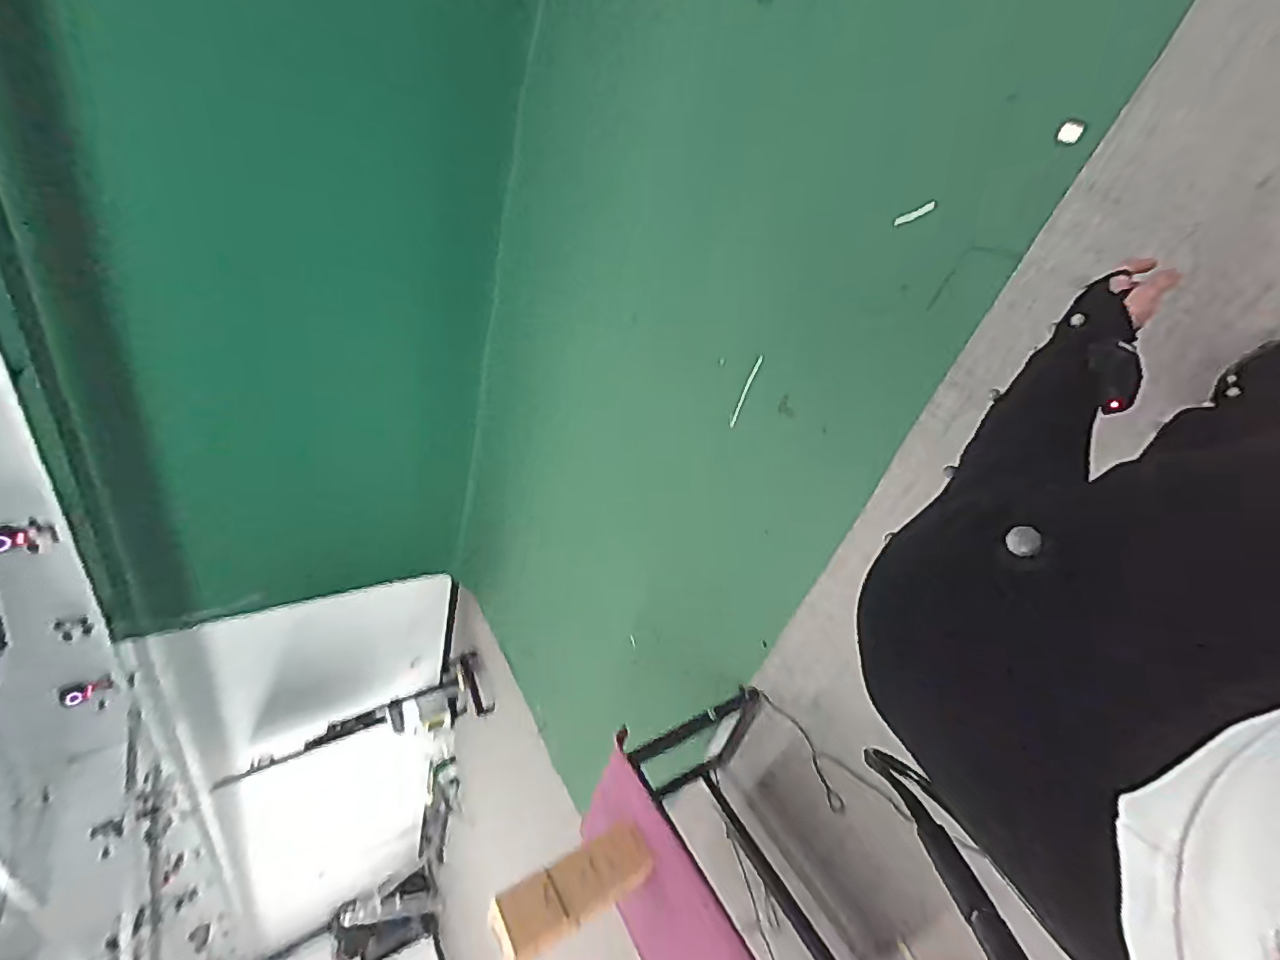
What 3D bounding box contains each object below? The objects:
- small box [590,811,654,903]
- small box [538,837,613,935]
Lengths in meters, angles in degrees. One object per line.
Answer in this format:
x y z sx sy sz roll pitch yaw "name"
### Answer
-0.073 1.275 1.836 0.168 0.176 0.179 45 132 37 "small box"
-0.205 1.298 1.740 0.168 0.176 0.179 48 134 37 "small box"
